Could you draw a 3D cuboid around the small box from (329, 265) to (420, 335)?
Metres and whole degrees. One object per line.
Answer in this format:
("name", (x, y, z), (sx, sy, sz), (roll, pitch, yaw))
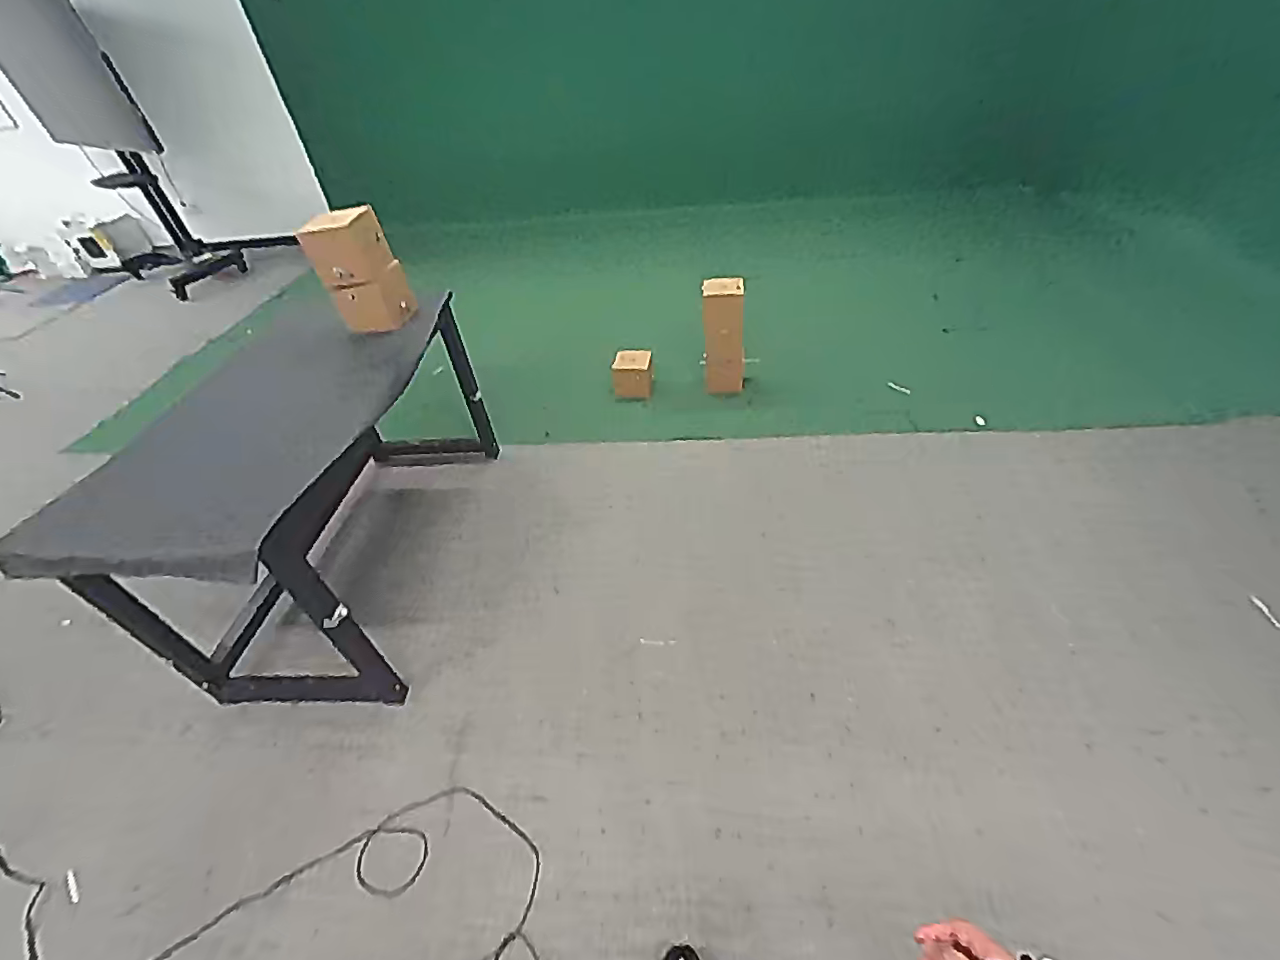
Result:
("small box", (-0.860, -0.586, 1.767), (0.179, 0.176, 0.168), (1, 43, 11))

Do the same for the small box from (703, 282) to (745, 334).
("small box", (0.375, -0.763, 2.408), (0.179, 0.176, 0.168), (0, 42, 9))

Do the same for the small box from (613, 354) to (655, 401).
("small box", (-0.024, -0.504, 2.663), (0.179, 0.176, 0.168), (3, 42, 11))

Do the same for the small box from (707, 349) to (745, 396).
("small box", (0.416, -0.519, 2.625), (0.179, 0.176, 0.168), (1, 43, 9))

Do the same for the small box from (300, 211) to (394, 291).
("small box", (-0.881, -0.698, 1.651), (0.168, 0.176, 0.179), (-6, 43, 7))
